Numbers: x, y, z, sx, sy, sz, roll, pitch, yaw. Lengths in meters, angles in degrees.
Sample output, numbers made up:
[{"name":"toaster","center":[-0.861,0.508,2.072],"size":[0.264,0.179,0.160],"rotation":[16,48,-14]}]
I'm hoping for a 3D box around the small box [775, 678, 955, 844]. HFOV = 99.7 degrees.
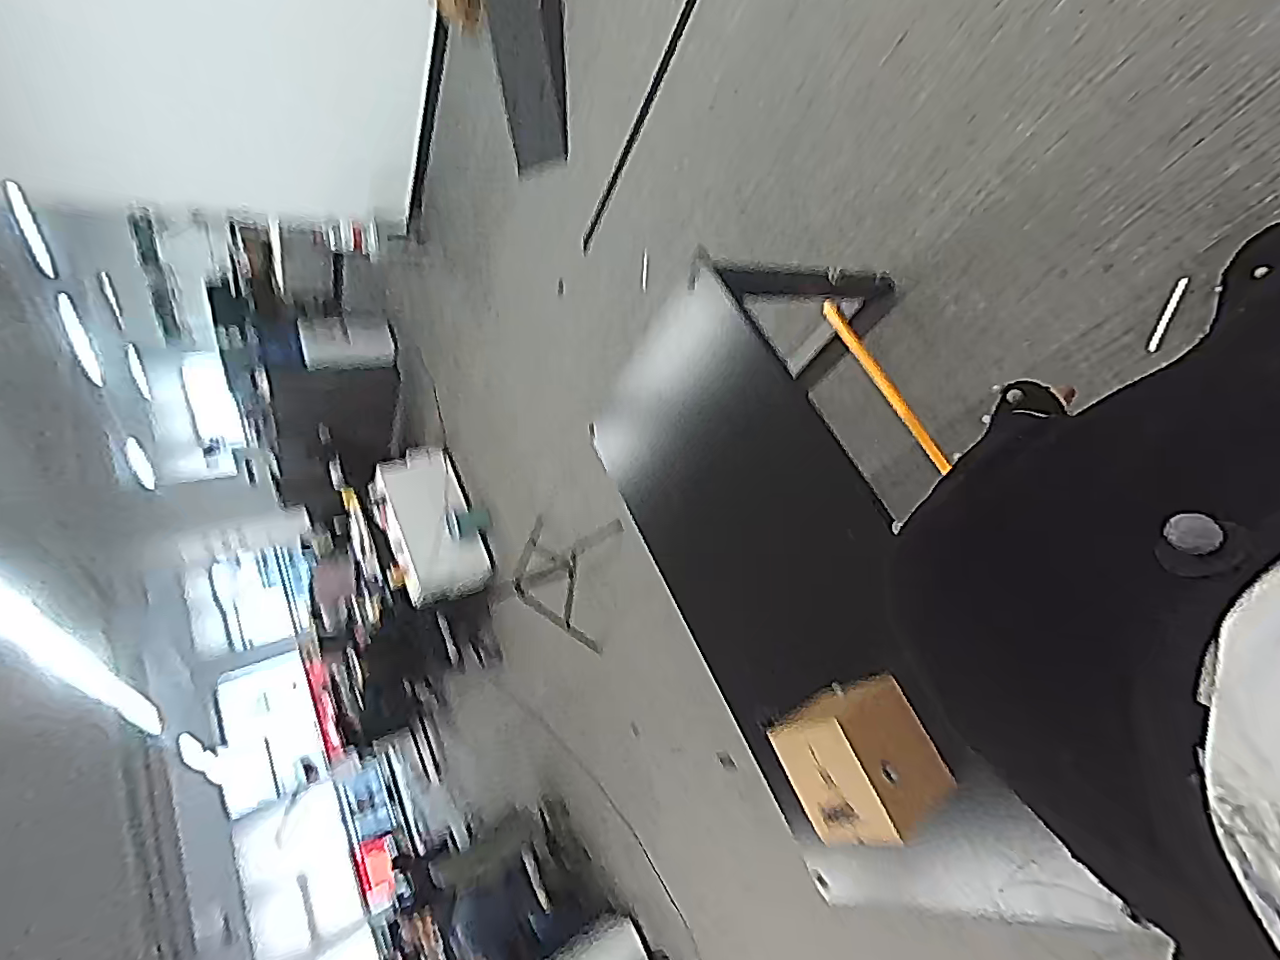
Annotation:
[{"name":"small box","center":[0.364,0.451,0.877],"size":[0.168,0.176,0.179],"rotation":[-49,61,48]}]
